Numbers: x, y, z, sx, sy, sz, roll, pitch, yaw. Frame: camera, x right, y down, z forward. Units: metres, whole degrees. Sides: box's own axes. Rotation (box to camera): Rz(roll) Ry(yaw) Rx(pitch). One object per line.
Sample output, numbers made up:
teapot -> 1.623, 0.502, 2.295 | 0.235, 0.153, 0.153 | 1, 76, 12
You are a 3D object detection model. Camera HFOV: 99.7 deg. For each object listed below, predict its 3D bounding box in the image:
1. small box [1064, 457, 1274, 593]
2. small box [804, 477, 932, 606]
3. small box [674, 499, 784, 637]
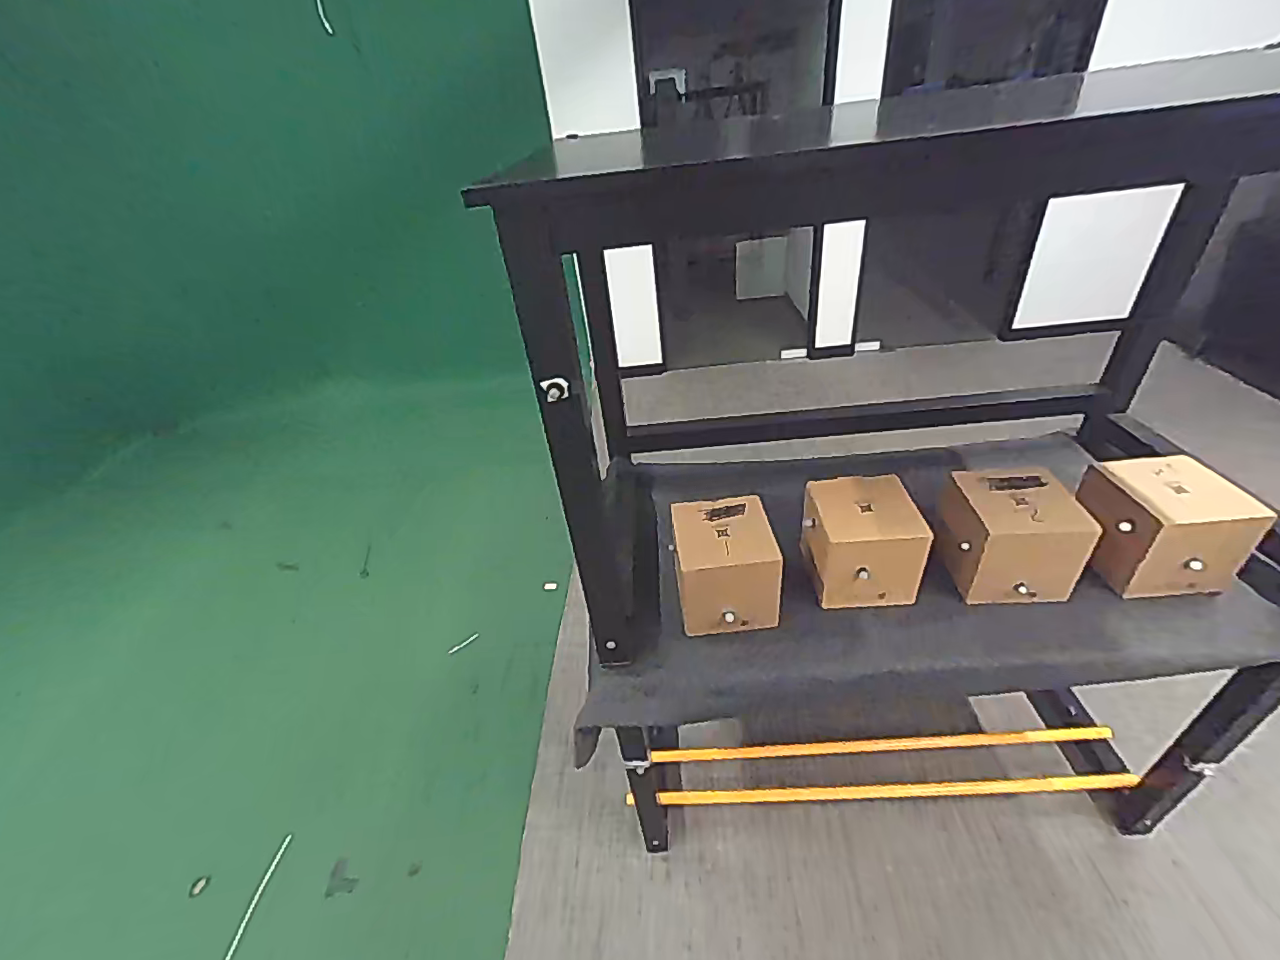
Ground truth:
small box -> 0.894, 0.082, 0.938 | 0.168, 0.176, 0.179 | -5, 34, 4
small box -> 0.405, 0.117, 0.992 | 0.168, 0.176, 0.179 | -4, 35, 5
small box -> 0.154, 0.158, 0.980 | 0.168, 0.176, 0.179 | -7, 36, 1
